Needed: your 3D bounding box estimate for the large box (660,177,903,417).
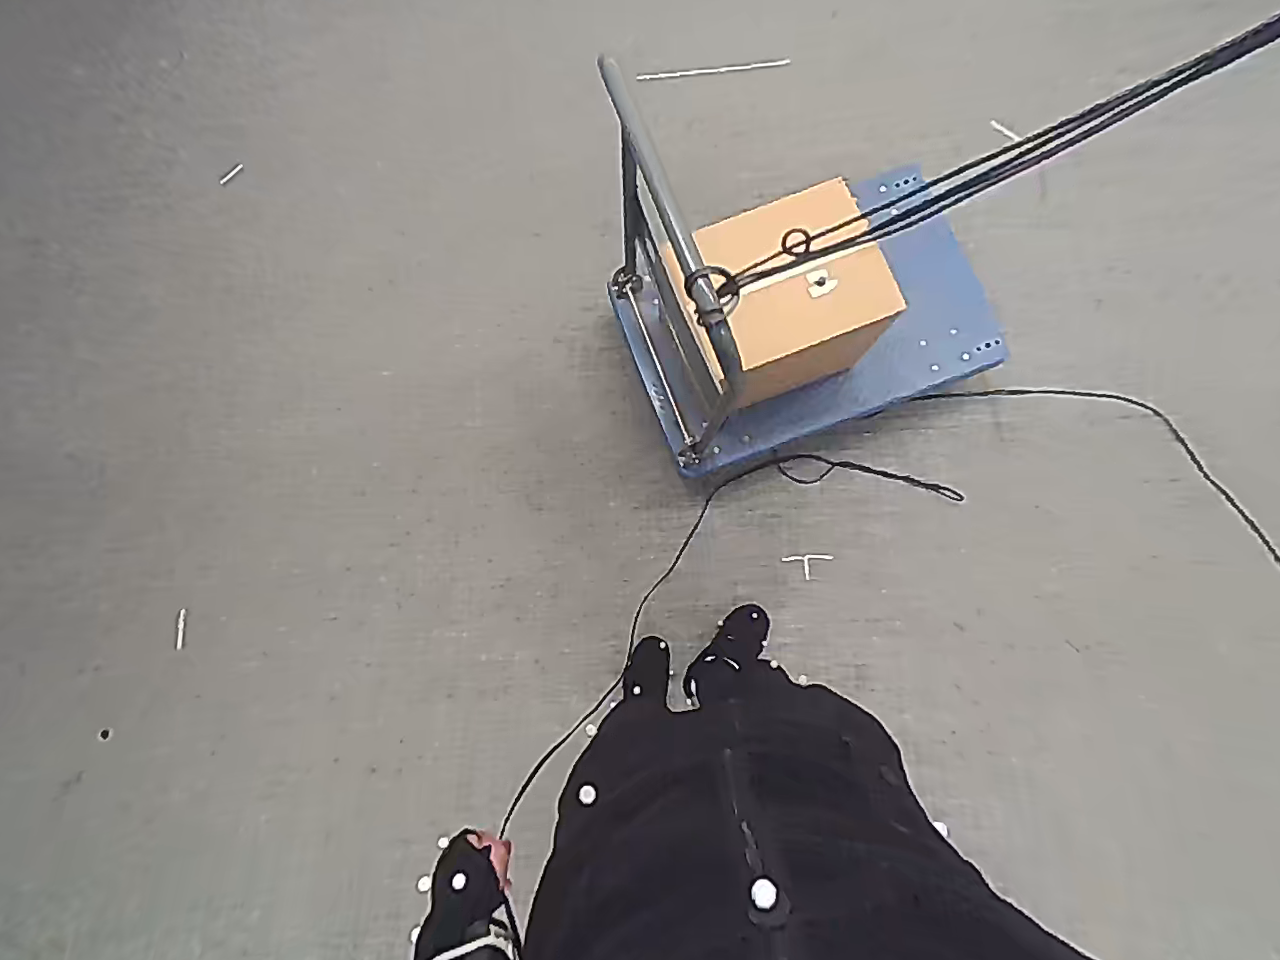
[{"bbox_3d":[0.284,-0.385,1.222,0.408,0.320,0.320,-21,81,-1],"label":"large box"}]
